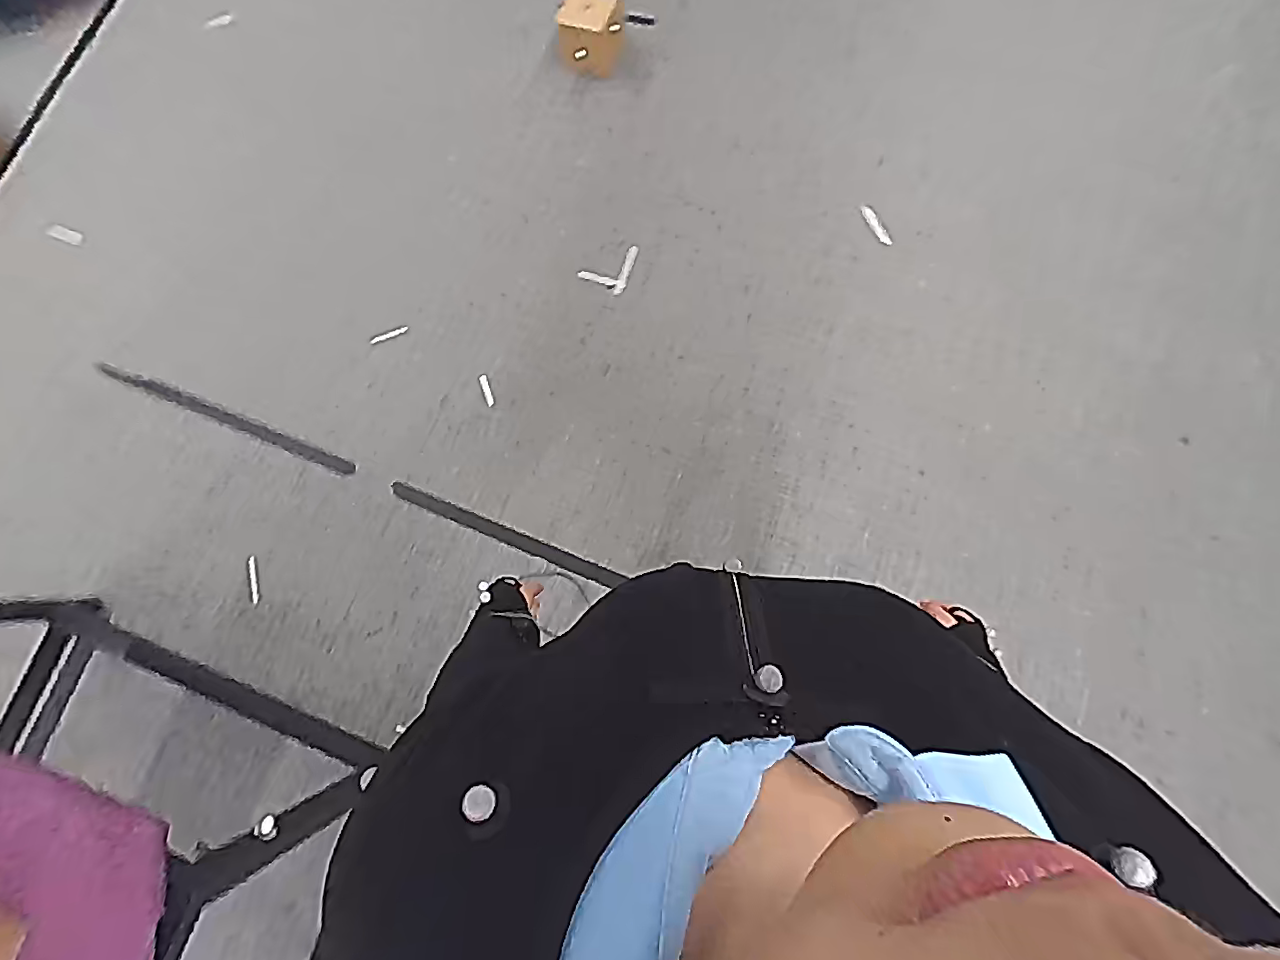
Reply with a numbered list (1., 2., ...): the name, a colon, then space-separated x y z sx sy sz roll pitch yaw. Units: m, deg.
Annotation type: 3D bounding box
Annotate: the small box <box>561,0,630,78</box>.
1. small box: -0.141 -1.516 1.828 0.168 0.176 0.179 23 81 9
